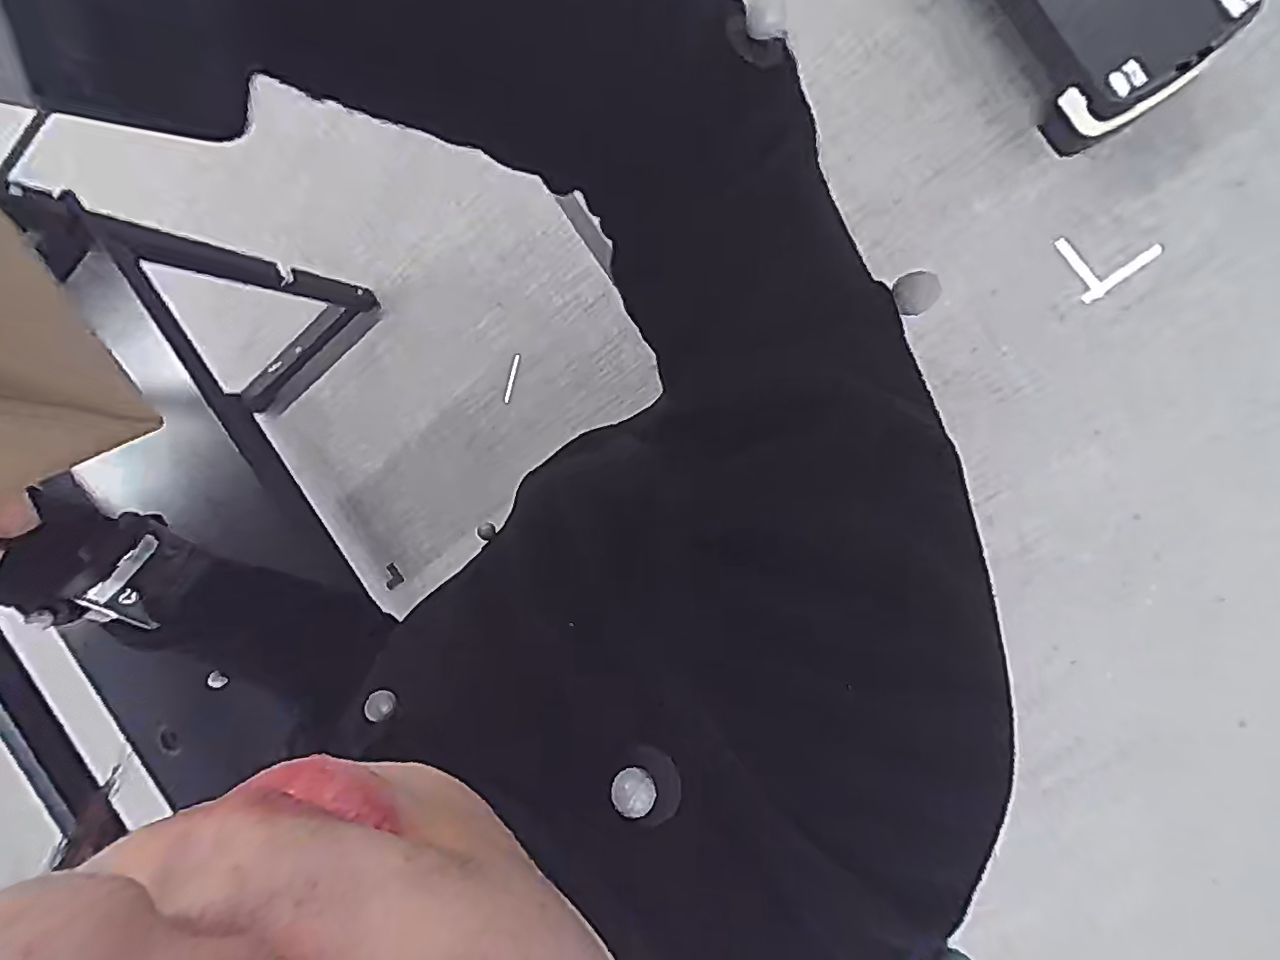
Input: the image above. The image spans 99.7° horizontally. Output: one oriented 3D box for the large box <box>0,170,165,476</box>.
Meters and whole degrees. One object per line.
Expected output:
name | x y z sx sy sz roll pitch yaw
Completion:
large box | -0.437 -0.065 0.087 0.408 0.320 0.320 -33 106 -21
